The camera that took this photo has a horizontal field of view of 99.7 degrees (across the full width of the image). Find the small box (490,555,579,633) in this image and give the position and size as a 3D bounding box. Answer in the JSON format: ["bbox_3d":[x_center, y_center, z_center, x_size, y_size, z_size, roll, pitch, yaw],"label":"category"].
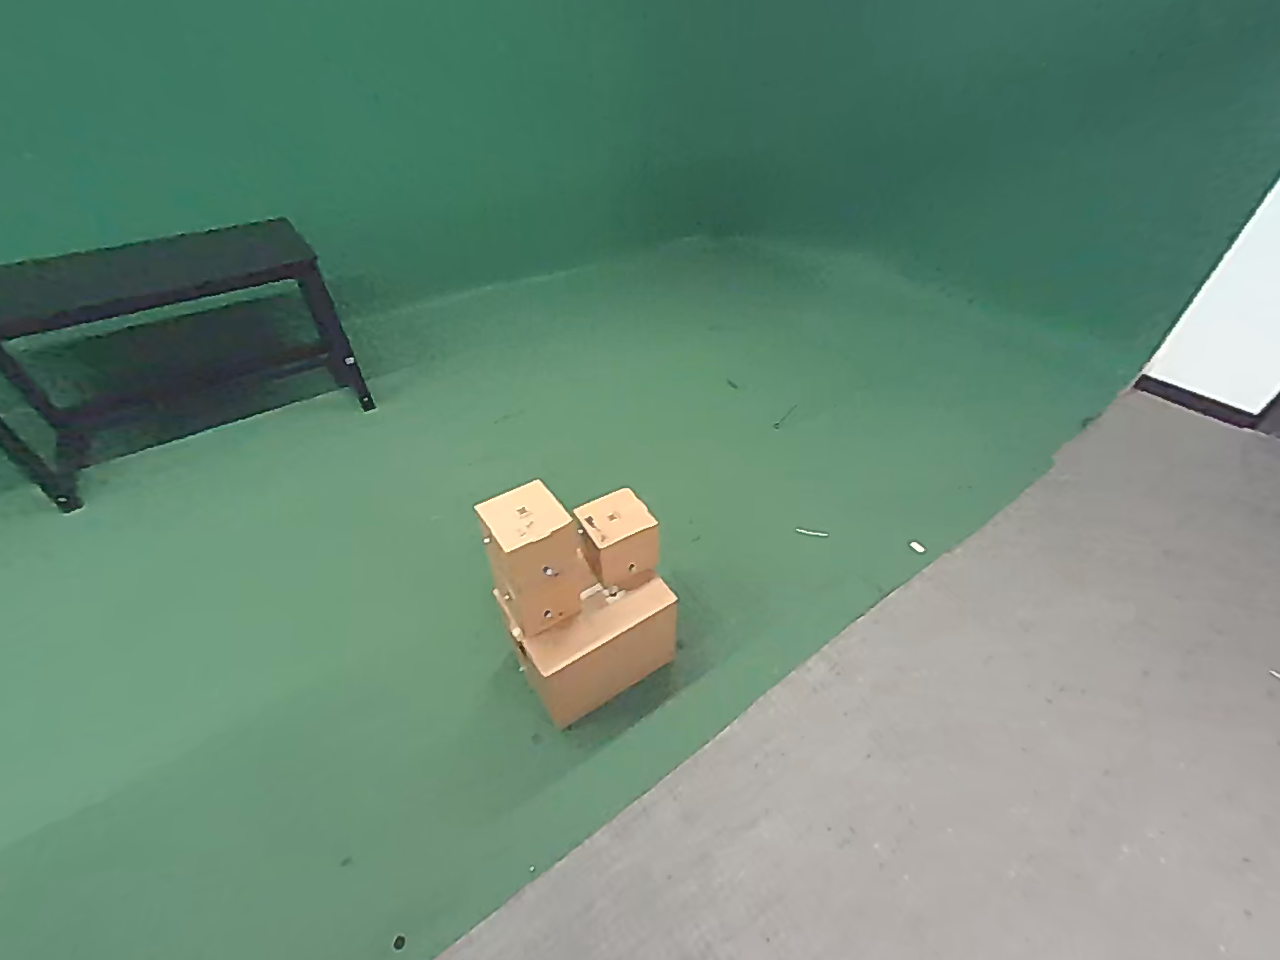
[{"bbox_3d":[-0.268,0.251,1.377,0.168,0.176,0.179,-24,47,-25],"label":"small box"}]

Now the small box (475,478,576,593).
[{"bbox_3d":[-0.265,0.130,1.266,0.168,0.176,0.179,-25,48,-25],"label":"small box"}]

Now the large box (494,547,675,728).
[{"bbox_3d":[-0.152,0.419,1.553,0.408,0.320,0.320,-24,48,-25],"label":"large box"}]

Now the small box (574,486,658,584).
[{"bbox_3d":[-0.066,0.152,1.482,0.179,0.176,0.168,-21,46,-21],"label":"small box"}]
